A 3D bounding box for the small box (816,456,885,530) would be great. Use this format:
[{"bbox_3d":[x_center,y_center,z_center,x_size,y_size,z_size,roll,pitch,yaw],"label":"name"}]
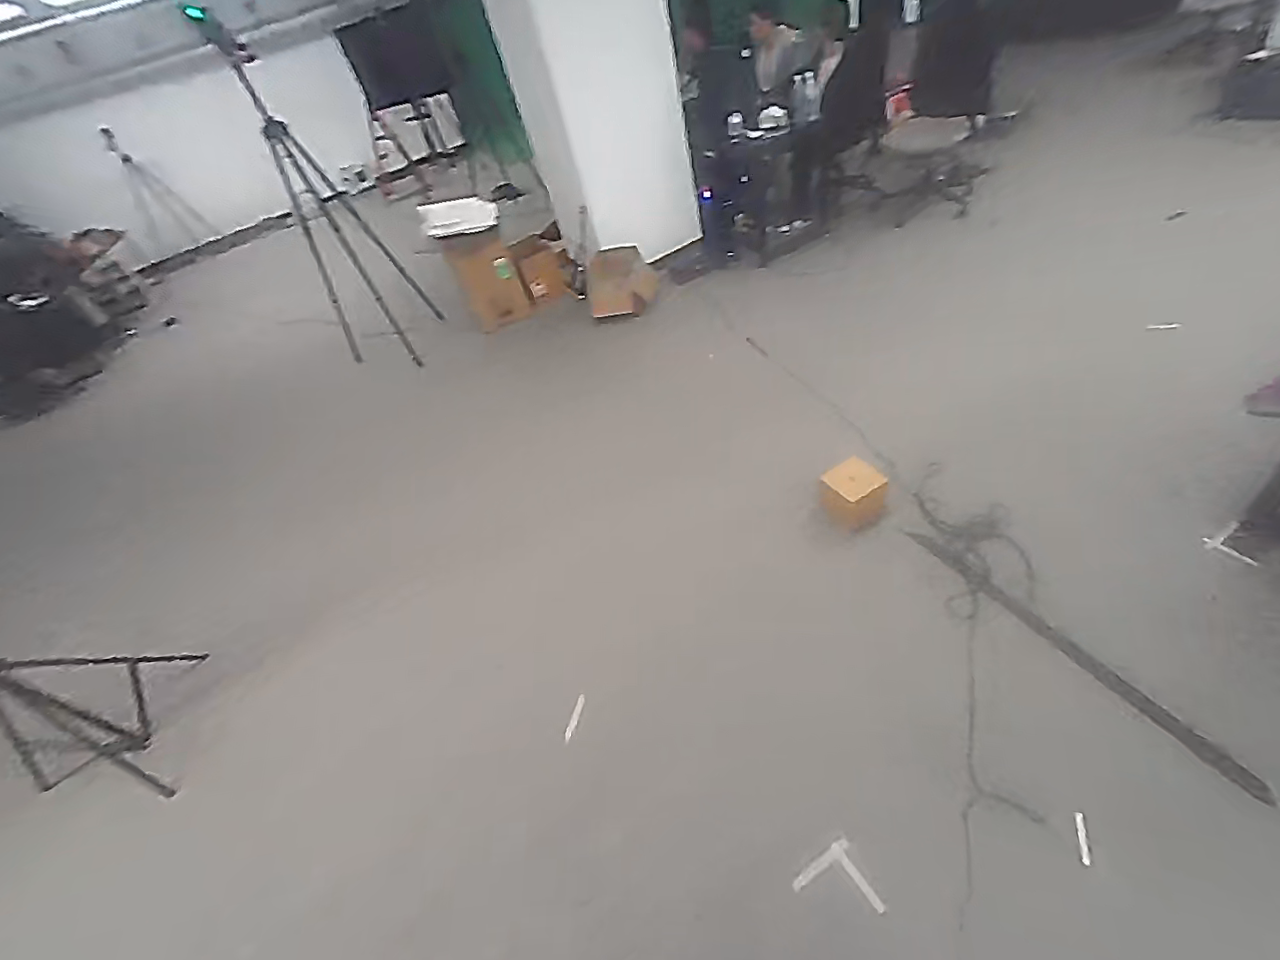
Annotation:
[{"bbox_3d":[0.773,0.050,1.993,0.168,0.176,0.179,-30,43,-10],"label":"small box"}]
